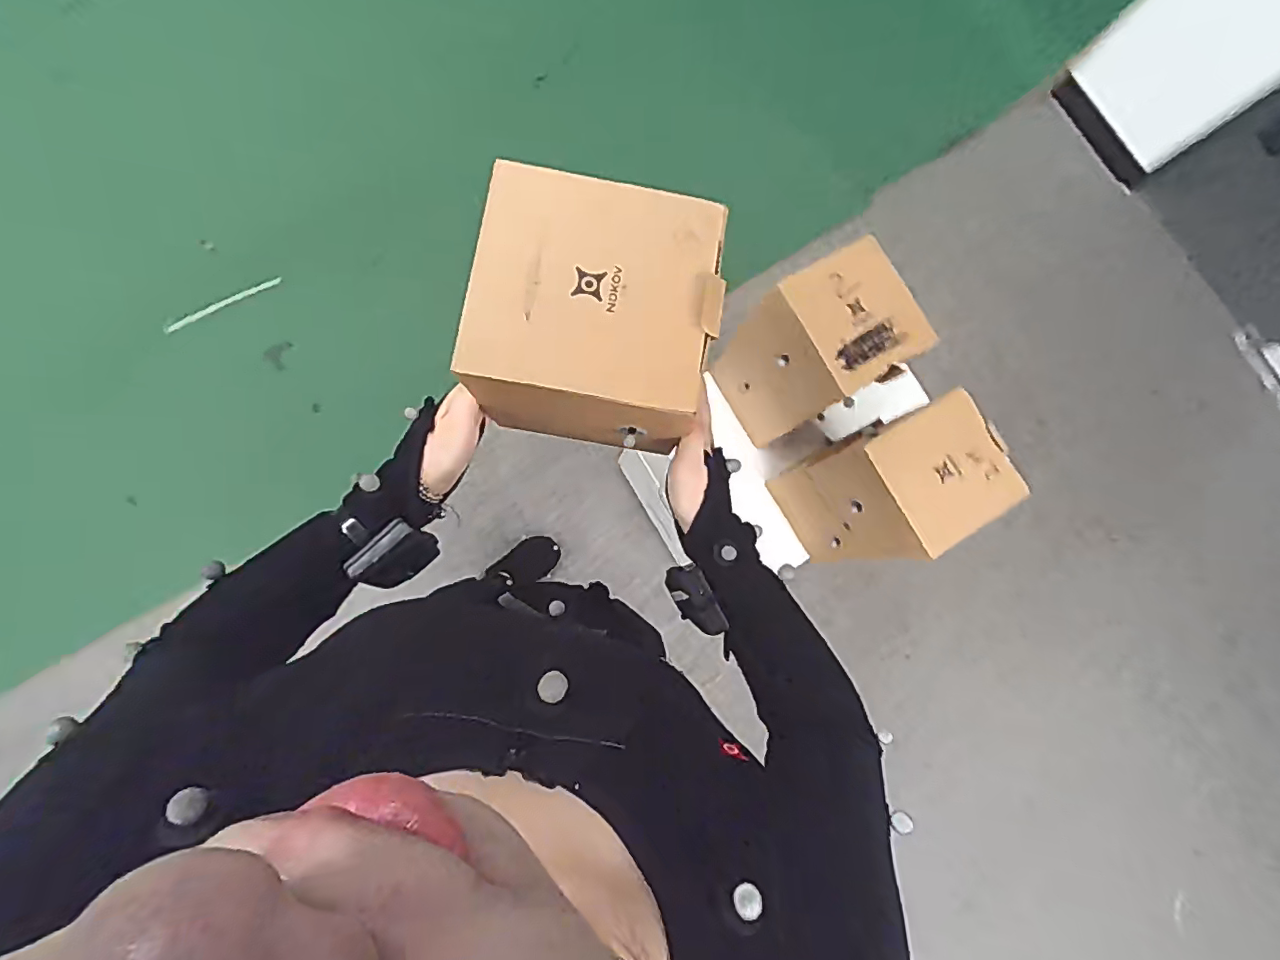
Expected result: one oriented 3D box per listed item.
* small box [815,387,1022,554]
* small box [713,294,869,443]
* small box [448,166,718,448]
[{"bbox_3d":[0.378,-0.002,0.775,0.179,0.176,0.168,-29,86,-12],"label":"small box"},{"bbox_3d":[0.253,-0.187,0.952,0.168,0.176,0.179,-30,88,-11],"label":"small box"},{"bbox_3d":[-0.043,-0.128,0.468,0.179,0.176,0.168,8,82,-2],"label":"small box"}]
